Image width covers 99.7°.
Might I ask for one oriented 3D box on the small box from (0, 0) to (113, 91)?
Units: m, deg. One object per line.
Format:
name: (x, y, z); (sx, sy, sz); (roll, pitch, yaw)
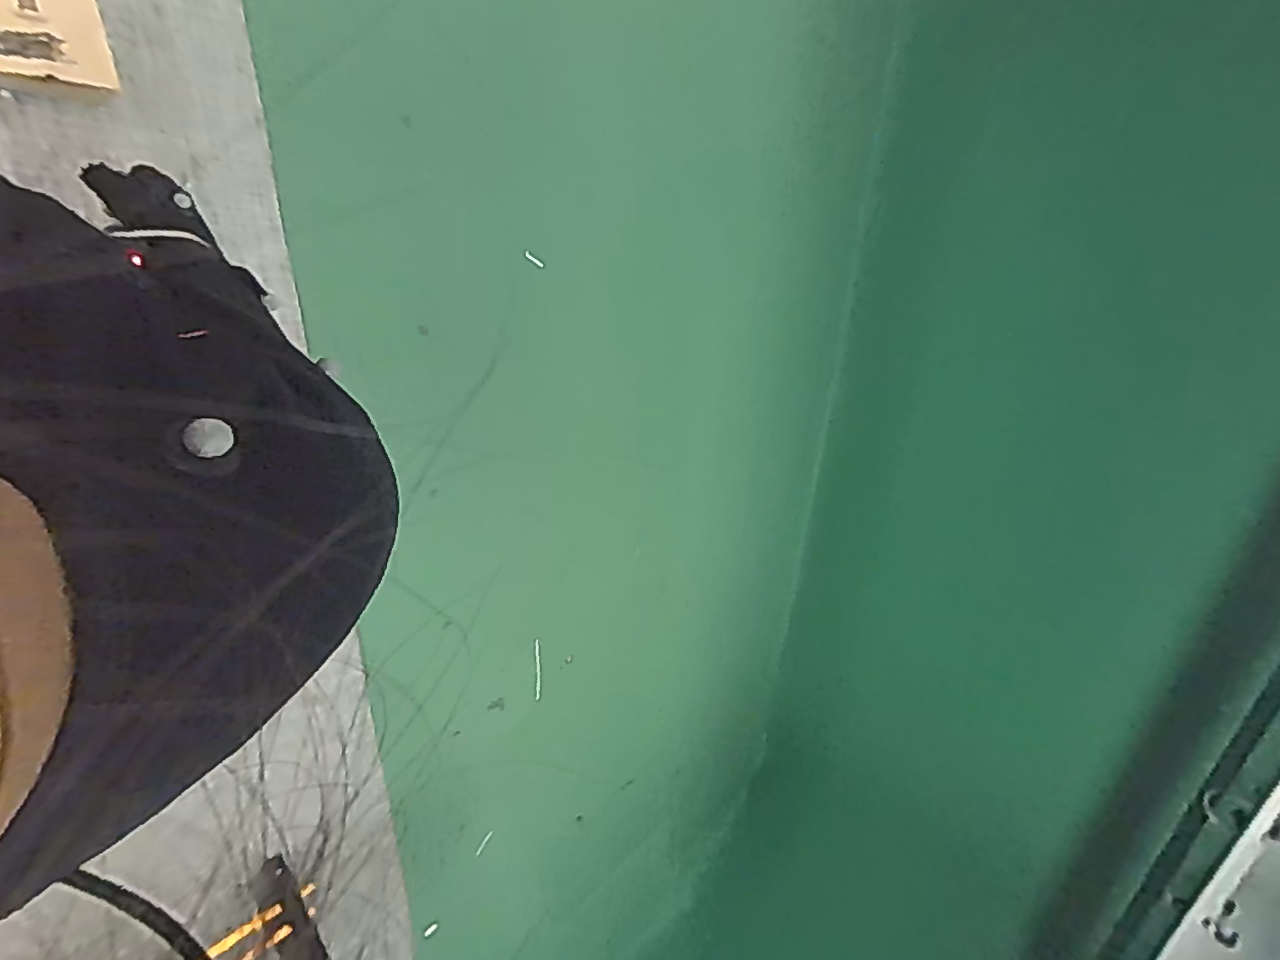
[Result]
small box: (-0.953, -0.723, 0.829); (0.168, 0.176, 0.179); (-22, 123, -43)
